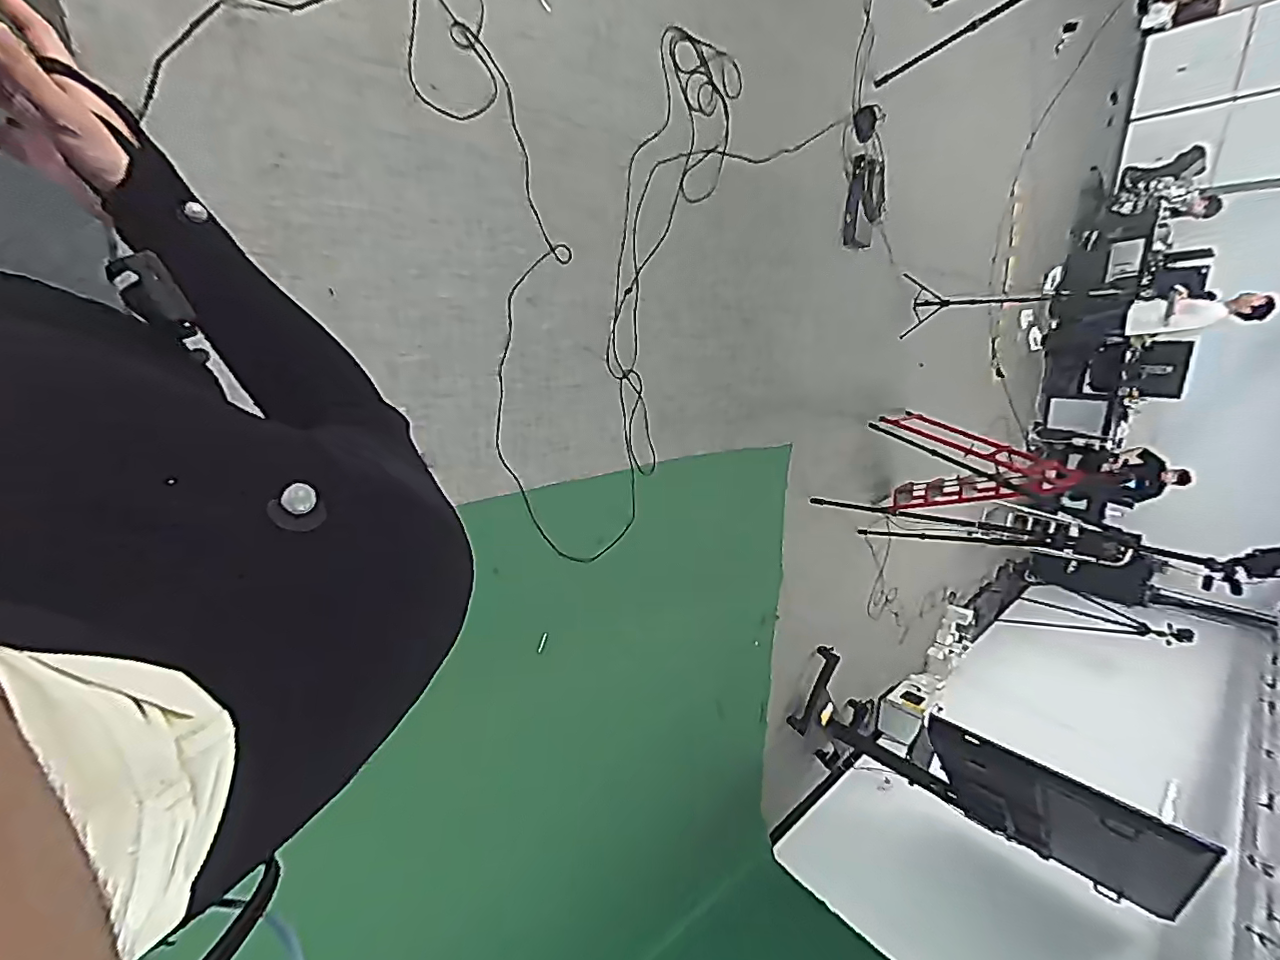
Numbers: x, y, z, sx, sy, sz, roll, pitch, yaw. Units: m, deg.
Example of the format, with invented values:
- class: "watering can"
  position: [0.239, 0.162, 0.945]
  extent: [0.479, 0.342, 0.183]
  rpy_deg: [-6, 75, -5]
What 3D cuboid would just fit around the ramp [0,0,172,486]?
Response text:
- class: "ramp"
  position: [-1.329, -0.482, 1.035]
  extent: [0.509, 0.206, 0.991]
  rpy_deg: [-15, 110, -38]
